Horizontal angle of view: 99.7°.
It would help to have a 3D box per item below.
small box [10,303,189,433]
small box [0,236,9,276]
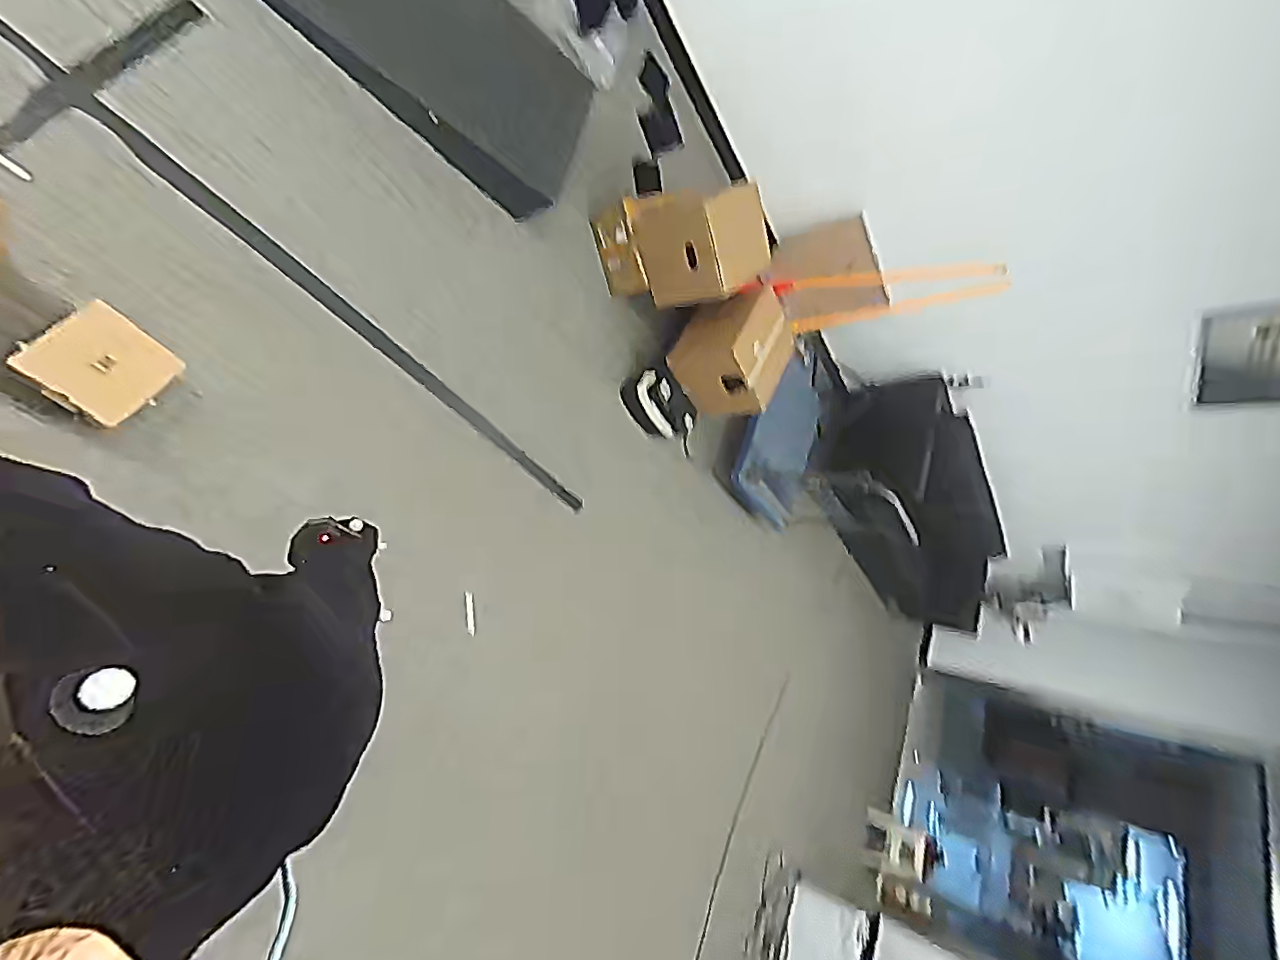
[{"bbox_3d":[-1.021,-0.204,1.030,0.168,0.176,0.179,52,55,-37],"label":"small box"},{"bbox_3d":[-1.167,-0.370,0.854,0.168,0.176,0.179,48,57,-38],"label":"small box"}]
